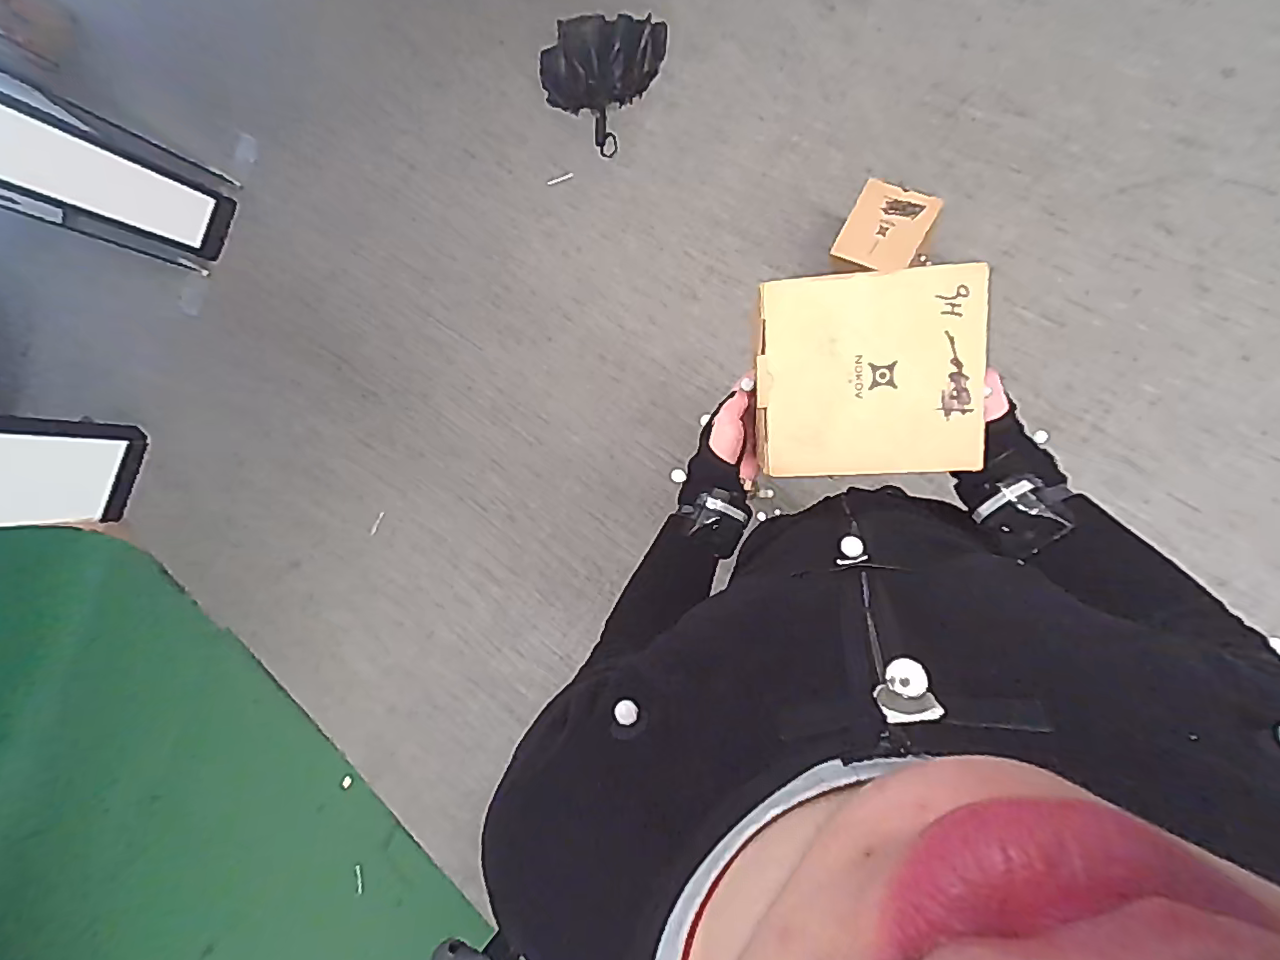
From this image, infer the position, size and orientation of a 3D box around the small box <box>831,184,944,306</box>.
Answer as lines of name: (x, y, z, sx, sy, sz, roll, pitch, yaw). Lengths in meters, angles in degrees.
small box: (0.556, -0.527, 1.234, 0.168, 0.176, 0.179, 31, 101, 21)
